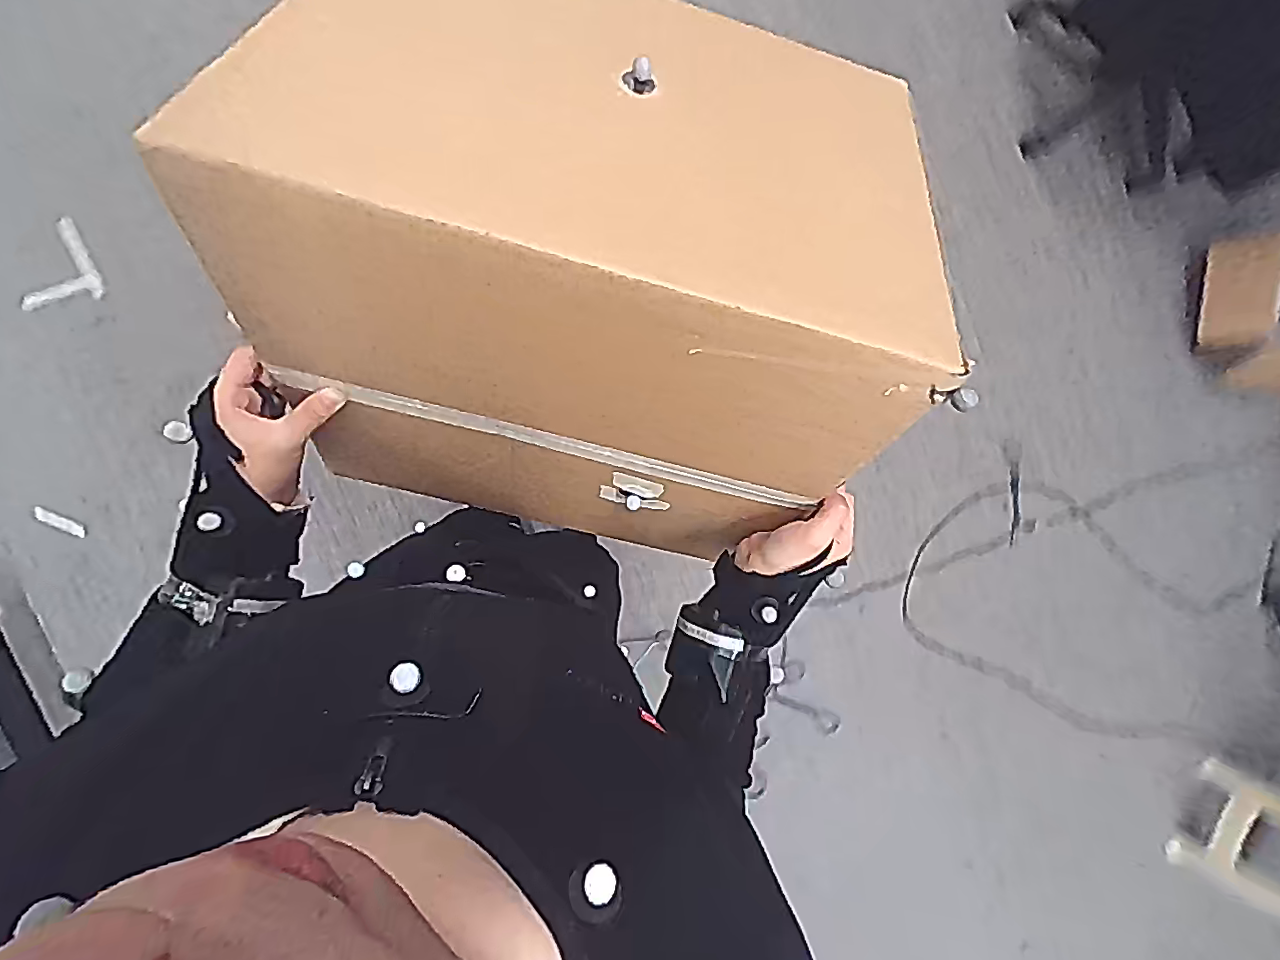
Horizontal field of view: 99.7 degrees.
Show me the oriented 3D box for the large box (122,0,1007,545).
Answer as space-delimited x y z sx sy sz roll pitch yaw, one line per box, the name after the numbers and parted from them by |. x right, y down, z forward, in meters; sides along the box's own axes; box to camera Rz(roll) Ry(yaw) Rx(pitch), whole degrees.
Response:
-0.030 -0.176 0.437 0.408 0.320 0.320 11 62 -6 | large box
